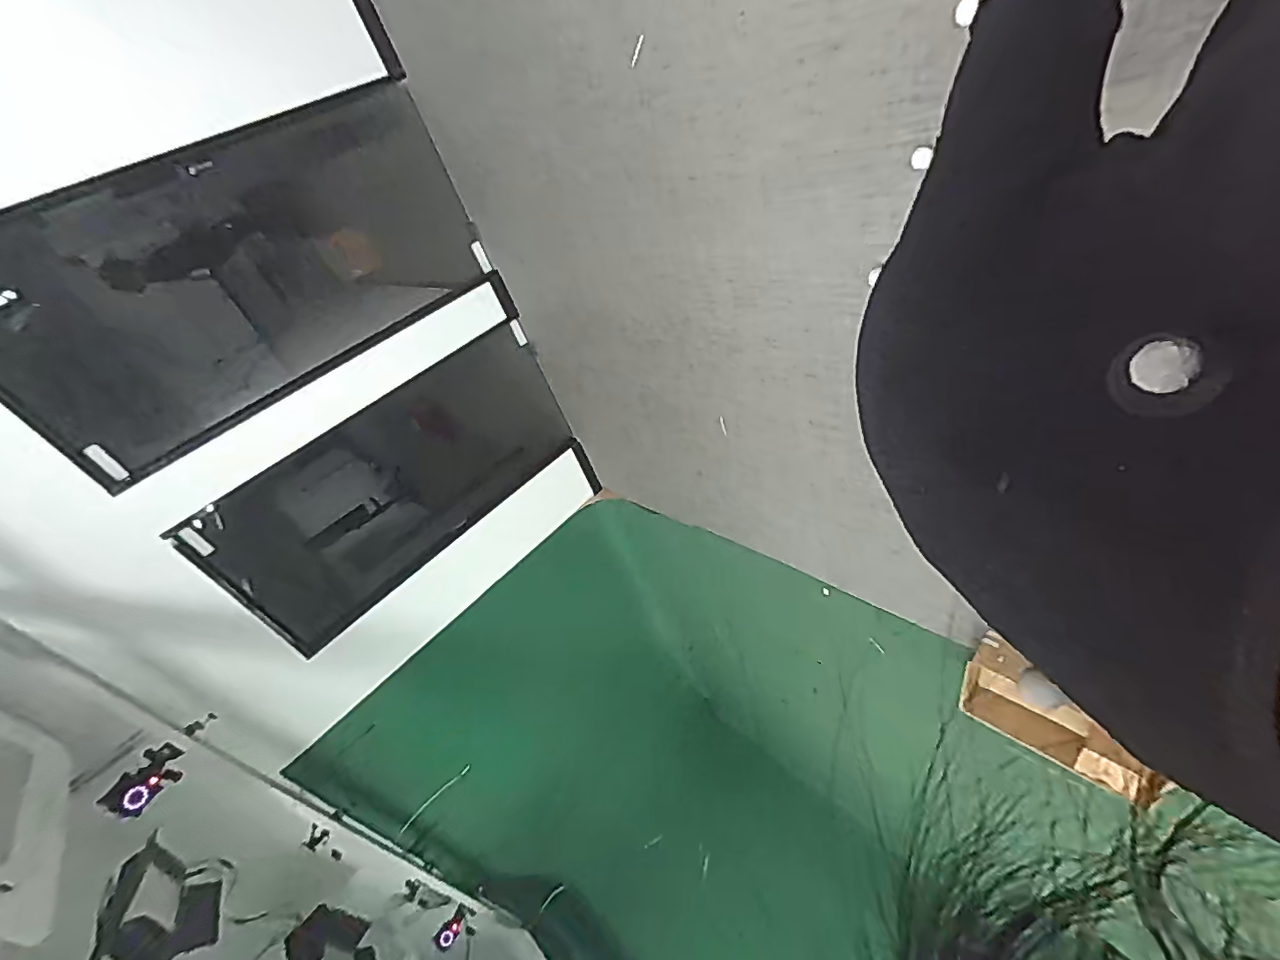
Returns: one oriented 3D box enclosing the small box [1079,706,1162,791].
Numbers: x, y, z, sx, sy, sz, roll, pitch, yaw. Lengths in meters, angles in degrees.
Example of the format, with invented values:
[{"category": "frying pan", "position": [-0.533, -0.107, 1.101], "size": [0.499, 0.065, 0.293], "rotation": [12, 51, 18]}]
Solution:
[{"category": "small box", "position": [1.674, 0.929, 1.882], "size": [0.168, 0.176, 0.179], "rotation": [25, 146, 43]}]
